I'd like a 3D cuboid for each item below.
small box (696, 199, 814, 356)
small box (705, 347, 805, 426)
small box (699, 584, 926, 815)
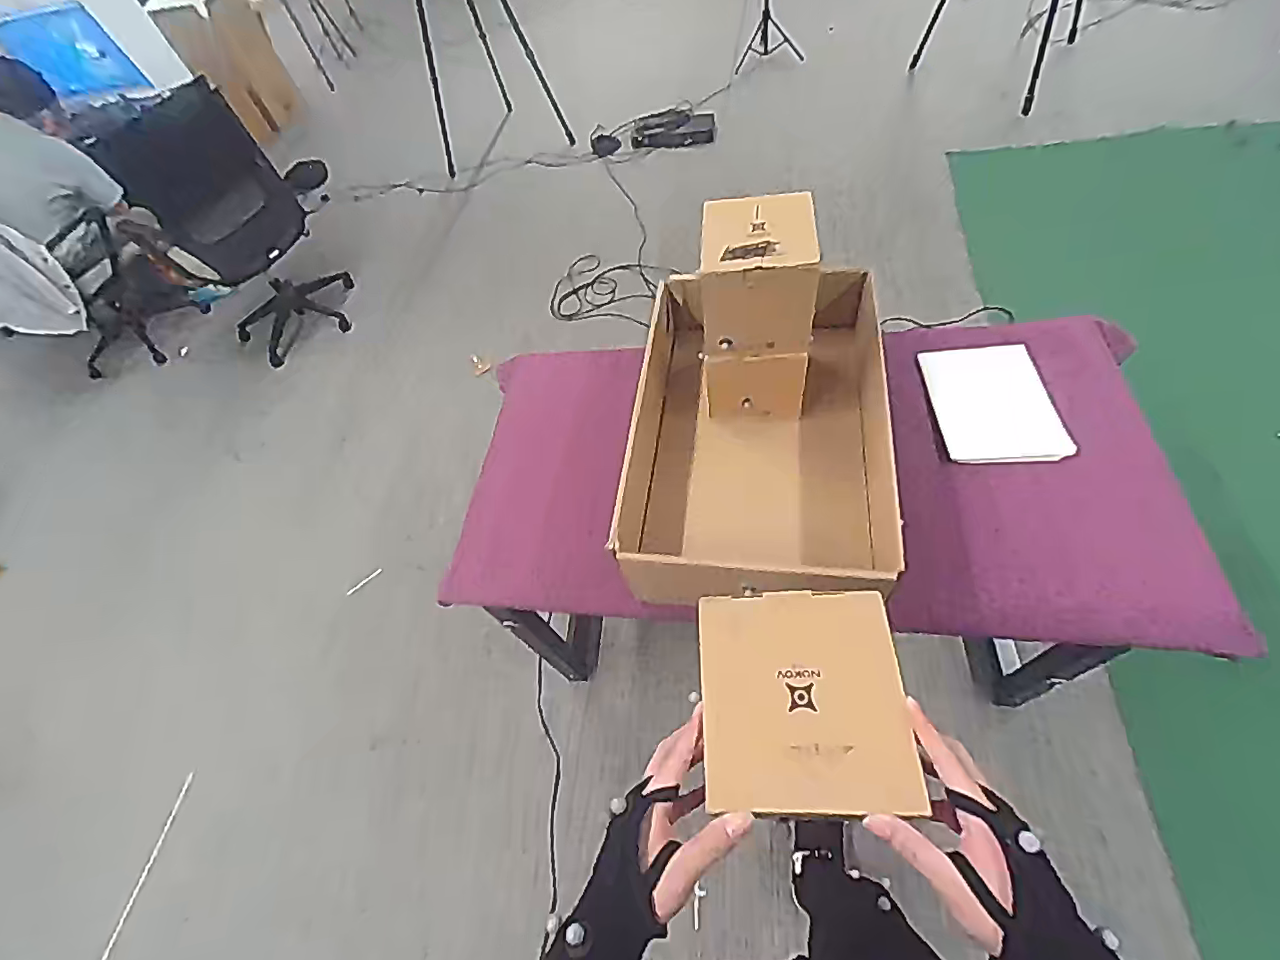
[{"bbox_3d":[0.182,-0.313,0.863,0.168,0.176,0.179,0,57,10],"label":"small box"},{"bbox_3d":[0.208,-0.219,0.995,0.168,0.176,0.179,0,59,11],"label":"small box"},{"bbox_3d":[0.143,0.214,0.518,0.168,0.176,0.179,-4,57,8],"label":"small box"}]
